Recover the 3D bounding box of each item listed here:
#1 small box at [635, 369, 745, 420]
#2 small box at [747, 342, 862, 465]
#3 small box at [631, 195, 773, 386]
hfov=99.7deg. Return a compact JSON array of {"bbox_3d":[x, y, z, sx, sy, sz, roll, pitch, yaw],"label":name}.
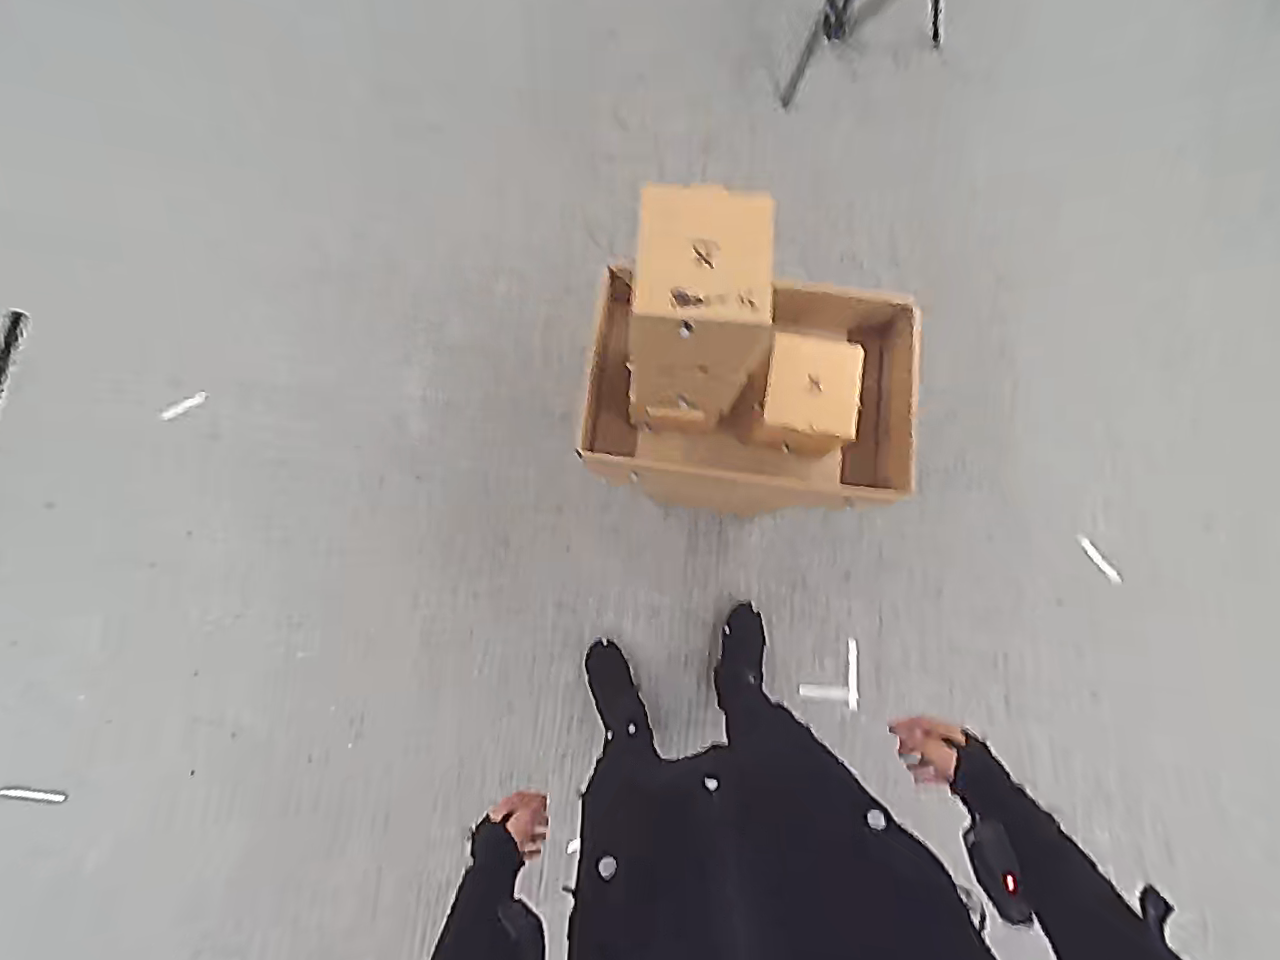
[{"bbox_3d":[0.080,-0.213,0.894,0.168,0.176,0.179,5,79,0],"label":"small box"},{"bbox_3d":[0.313,-0.142,1.053,0.168,0.176,0.179,9,79,2],"label":"small box"},{"bbox_3d":[0.077,-0.246,0.733,0.168,0.176,0.179,5,78,0],"label":"small box"}]
